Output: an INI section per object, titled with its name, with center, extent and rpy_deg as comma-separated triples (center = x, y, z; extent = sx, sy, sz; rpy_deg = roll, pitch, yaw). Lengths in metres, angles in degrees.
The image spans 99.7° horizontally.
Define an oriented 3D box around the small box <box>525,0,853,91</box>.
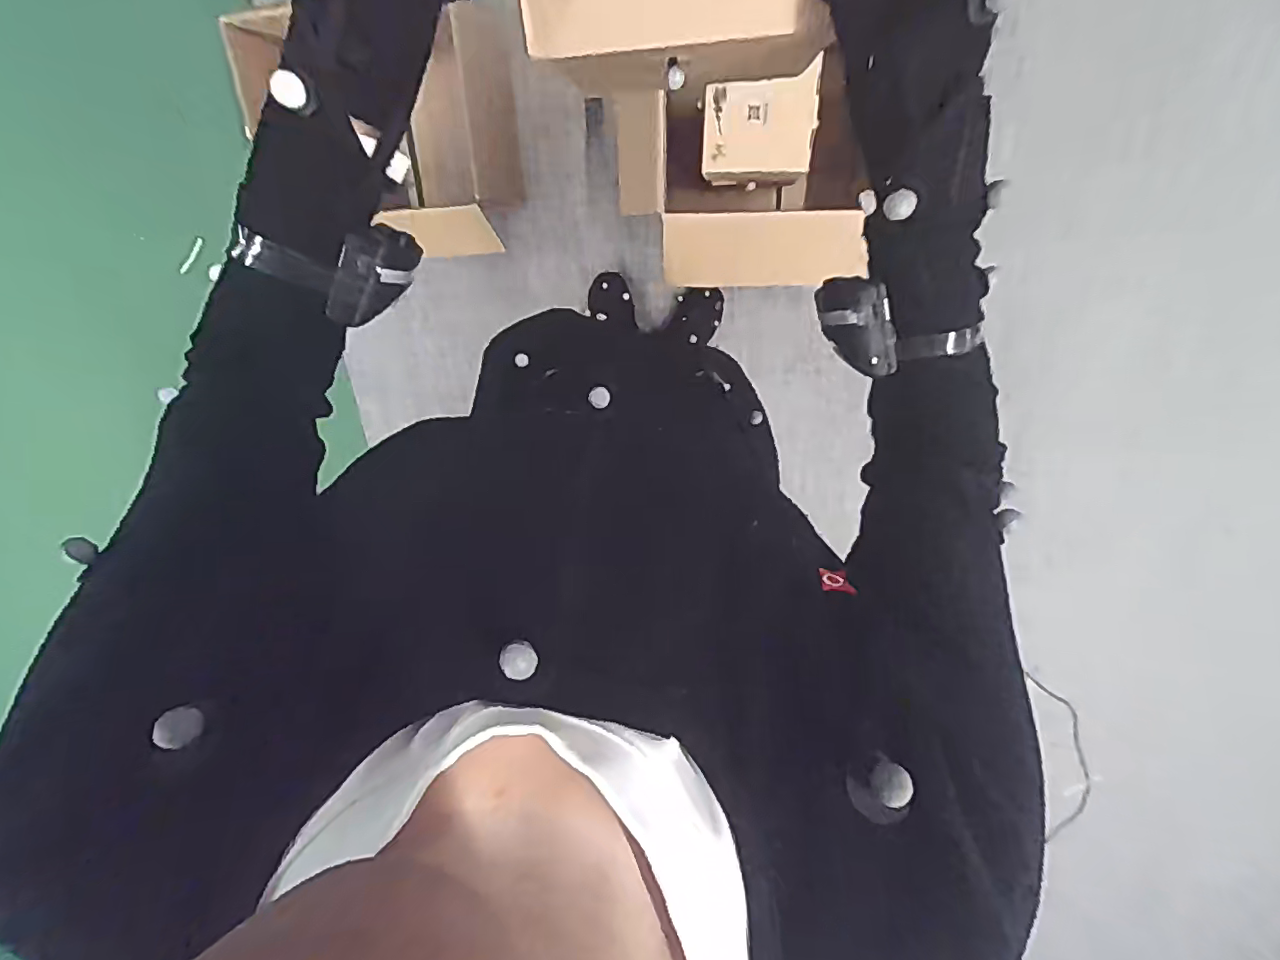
[small box]
center = 0.027, -0.349, 0.323
extent = 0.179, 0.176, 0.168
rpy_deg = -2, 120, 8
